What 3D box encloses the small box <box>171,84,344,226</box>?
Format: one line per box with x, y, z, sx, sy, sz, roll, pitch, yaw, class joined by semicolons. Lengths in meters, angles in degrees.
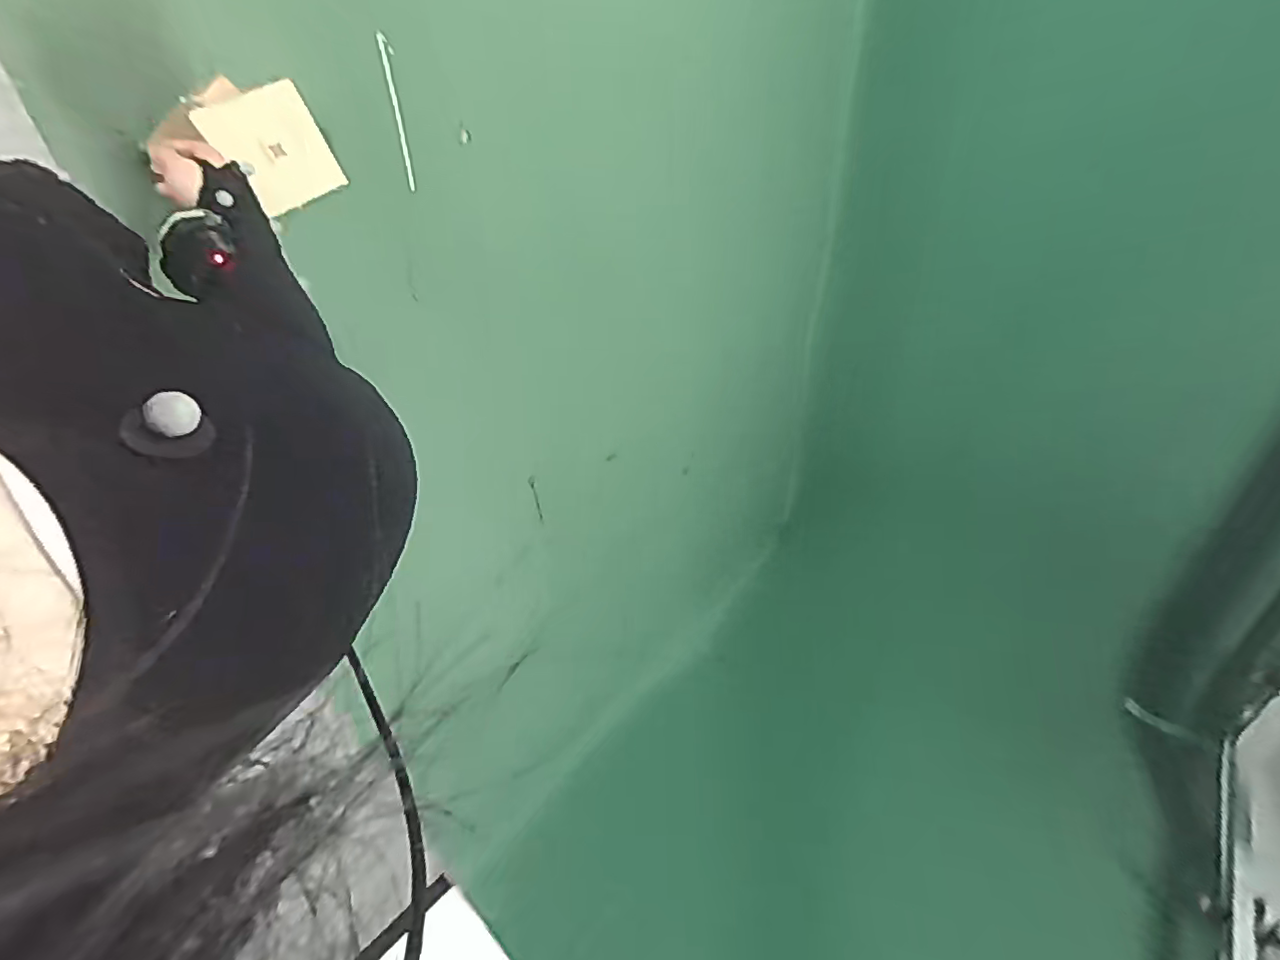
-0.678;-0.571;0.956;0.179;0.176;0.168;-46;141;-26;small box

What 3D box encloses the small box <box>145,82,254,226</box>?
-0.804;-0.625;1.045;0.179;0.176;0.168;-58;143;-9;small box
